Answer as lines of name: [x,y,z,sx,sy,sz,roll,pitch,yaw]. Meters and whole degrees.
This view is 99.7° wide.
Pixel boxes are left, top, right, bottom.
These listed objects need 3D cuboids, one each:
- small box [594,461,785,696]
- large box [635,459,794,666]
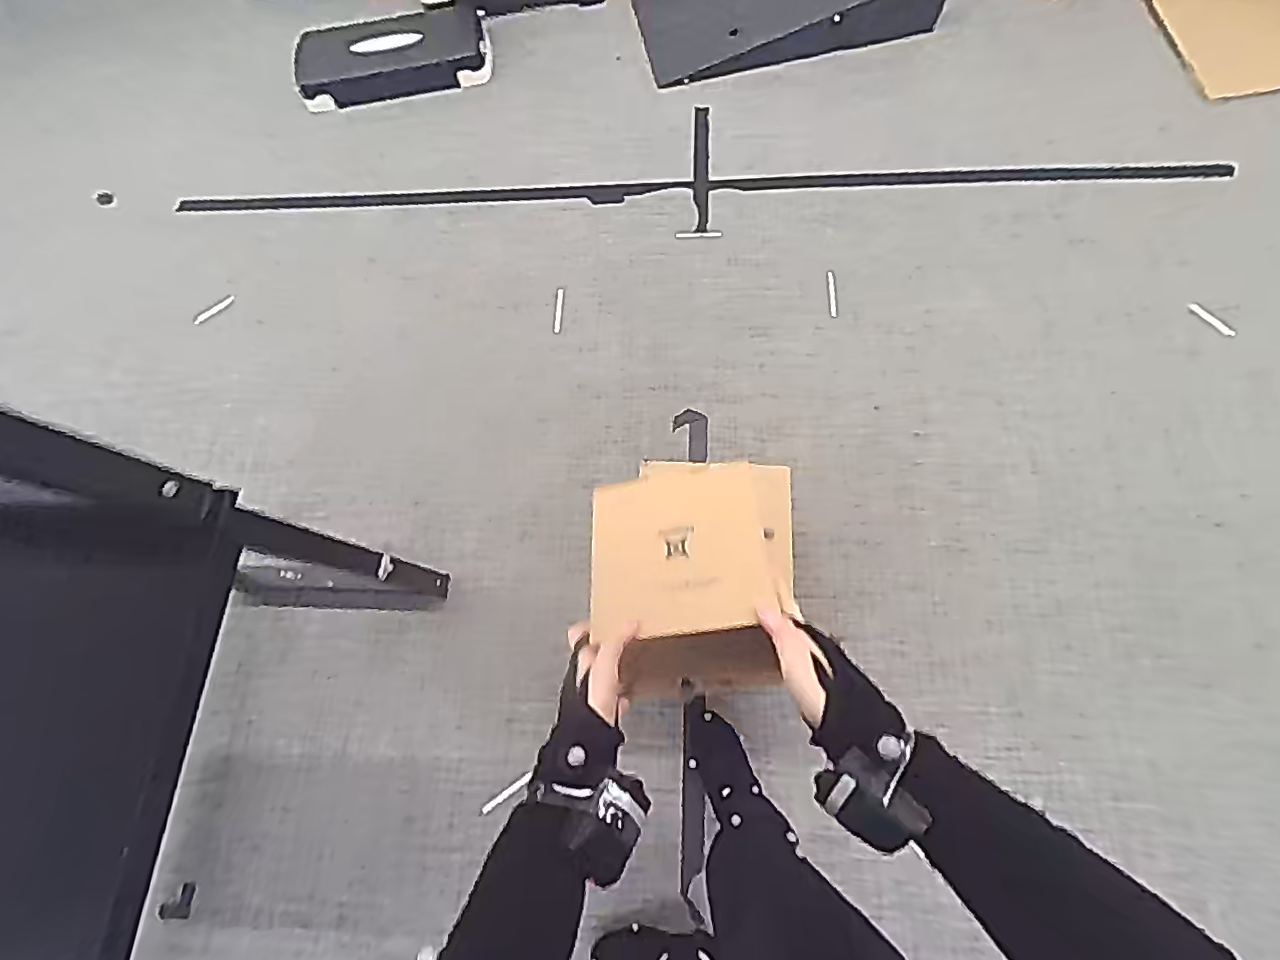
small box: [0.055,0.108,0.572,0.168,0.176,0.179,-10,50,9]
large box: [0.146,0.197,1.194,0.320,0.320,0.408,2,72,4]
